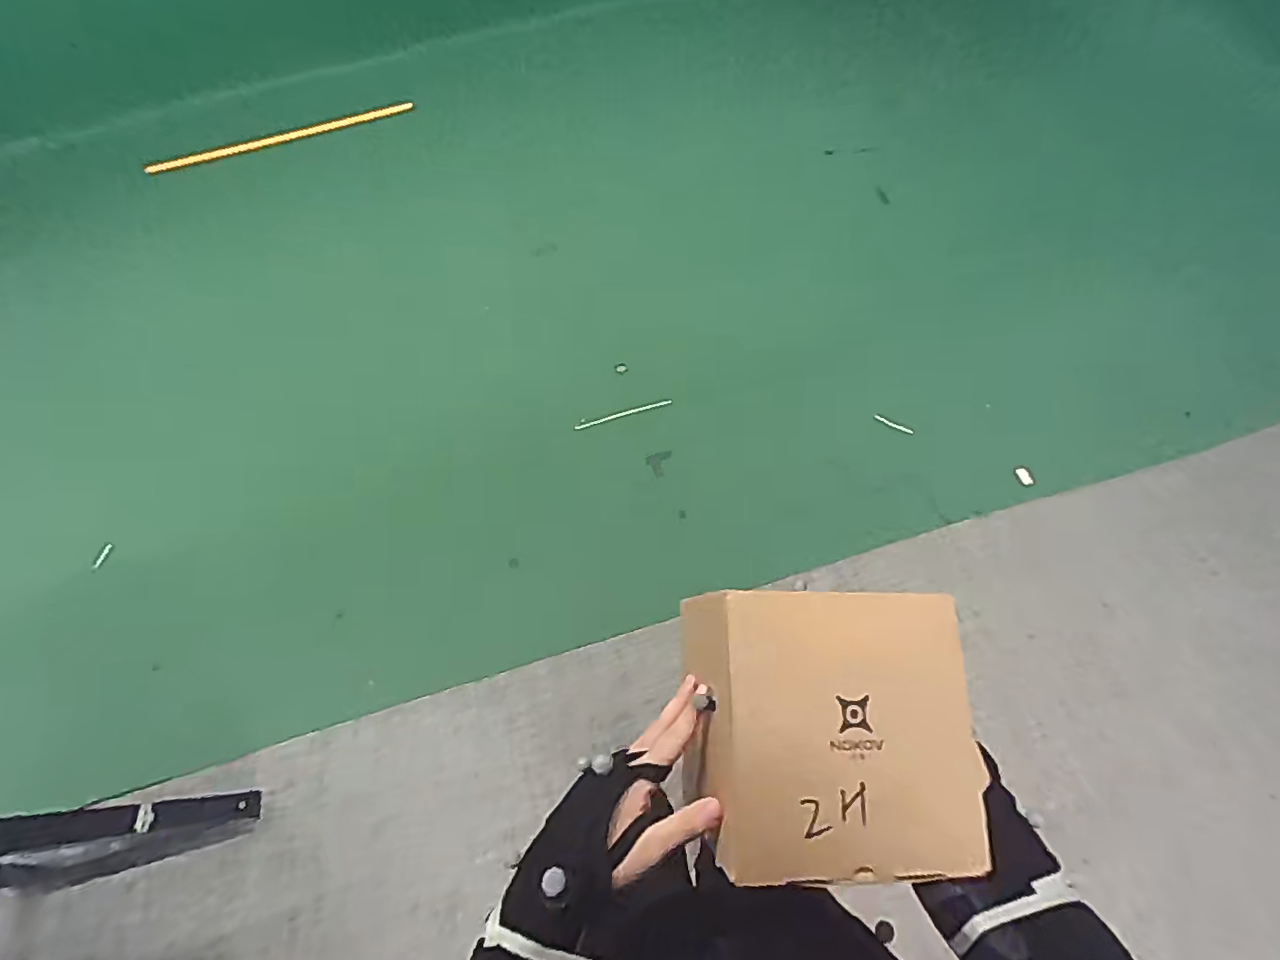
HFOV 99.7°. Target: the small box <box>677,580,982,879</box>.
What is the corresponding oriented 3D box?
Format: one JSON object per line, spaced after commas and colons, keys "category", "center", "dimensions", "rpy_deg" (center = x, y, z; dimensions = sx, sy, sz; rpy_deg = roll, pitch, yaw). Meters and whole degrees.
{"category": "small box", "center": [0.123, 0.177, 0.425], "dimensions": [0.168, 0.176, 0.179], "rpy_deg": [2, 74, -6]}
